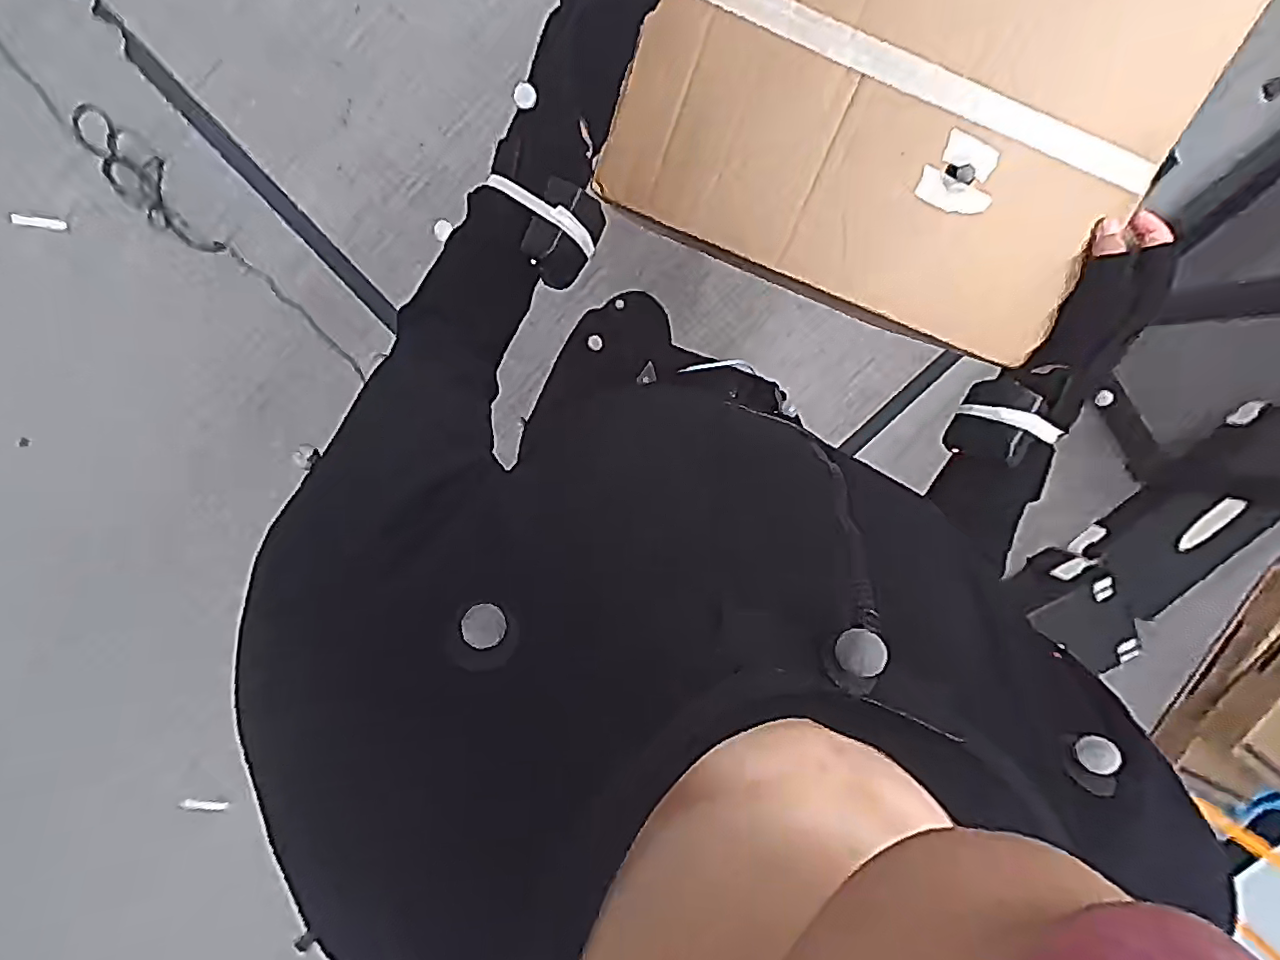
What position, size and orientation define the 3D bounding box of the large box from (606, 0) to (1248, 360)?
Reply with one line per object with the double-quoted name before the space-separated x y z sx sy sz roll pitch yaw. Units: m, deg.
"large box" 0.211 -0.359 0.550 0.408 0.320 0.320 21 113 -5
